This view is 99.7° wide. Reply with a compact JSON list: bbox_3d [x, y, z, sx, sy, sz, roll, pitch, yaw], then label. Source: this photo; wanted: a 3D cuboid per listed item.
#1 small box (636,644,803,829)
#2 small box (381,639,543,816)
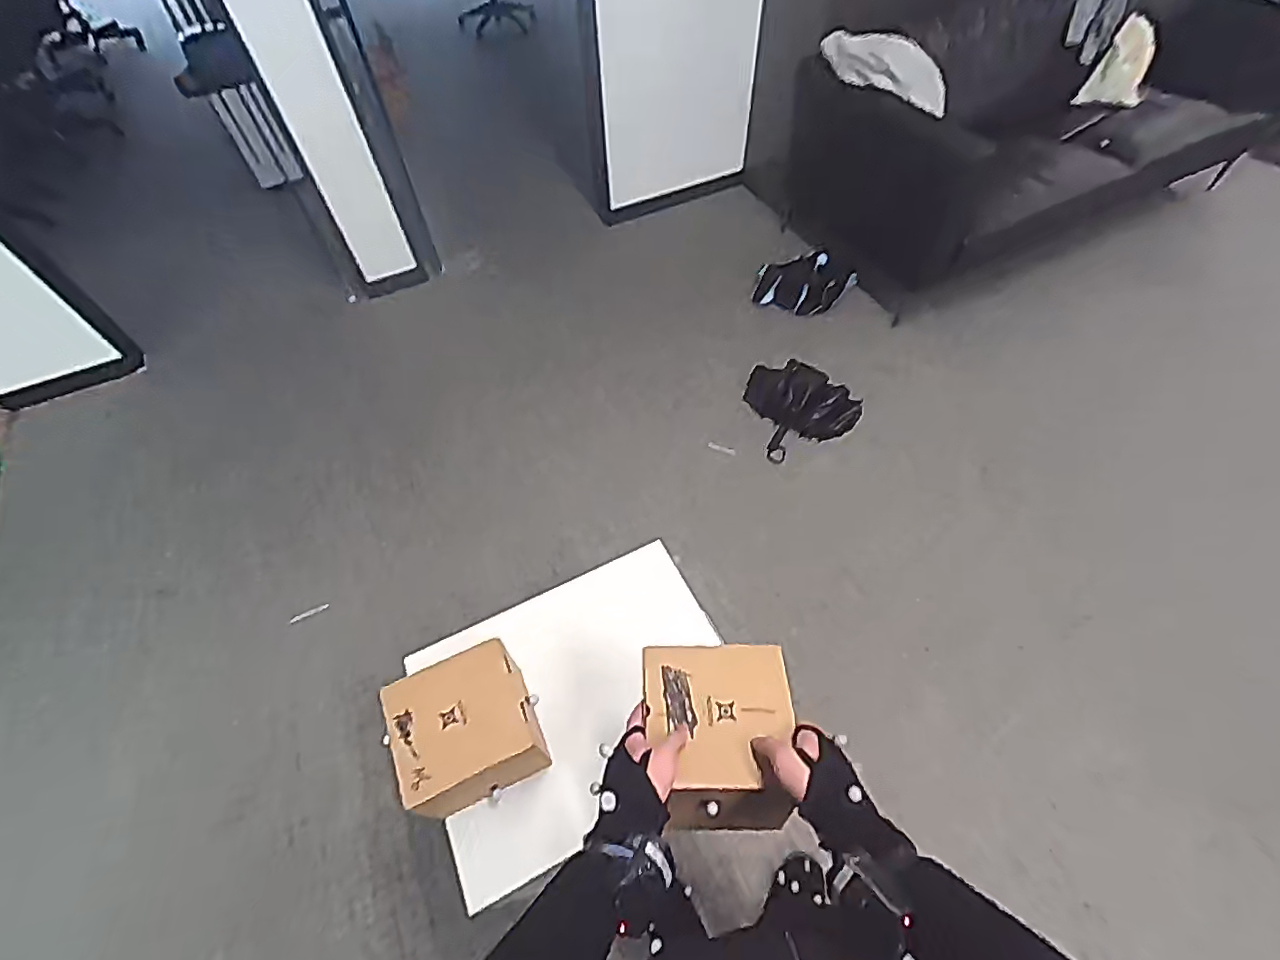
[{"bbox_3d":[0.086,0.321,0.674,0.179,0.176,0.168,0,44,0],"label":"small box"},{"bbox_3d":[-0.250,0.366,0.796,0.179,0.176,0.168,-21,58,-14],"label":"small box"}]
